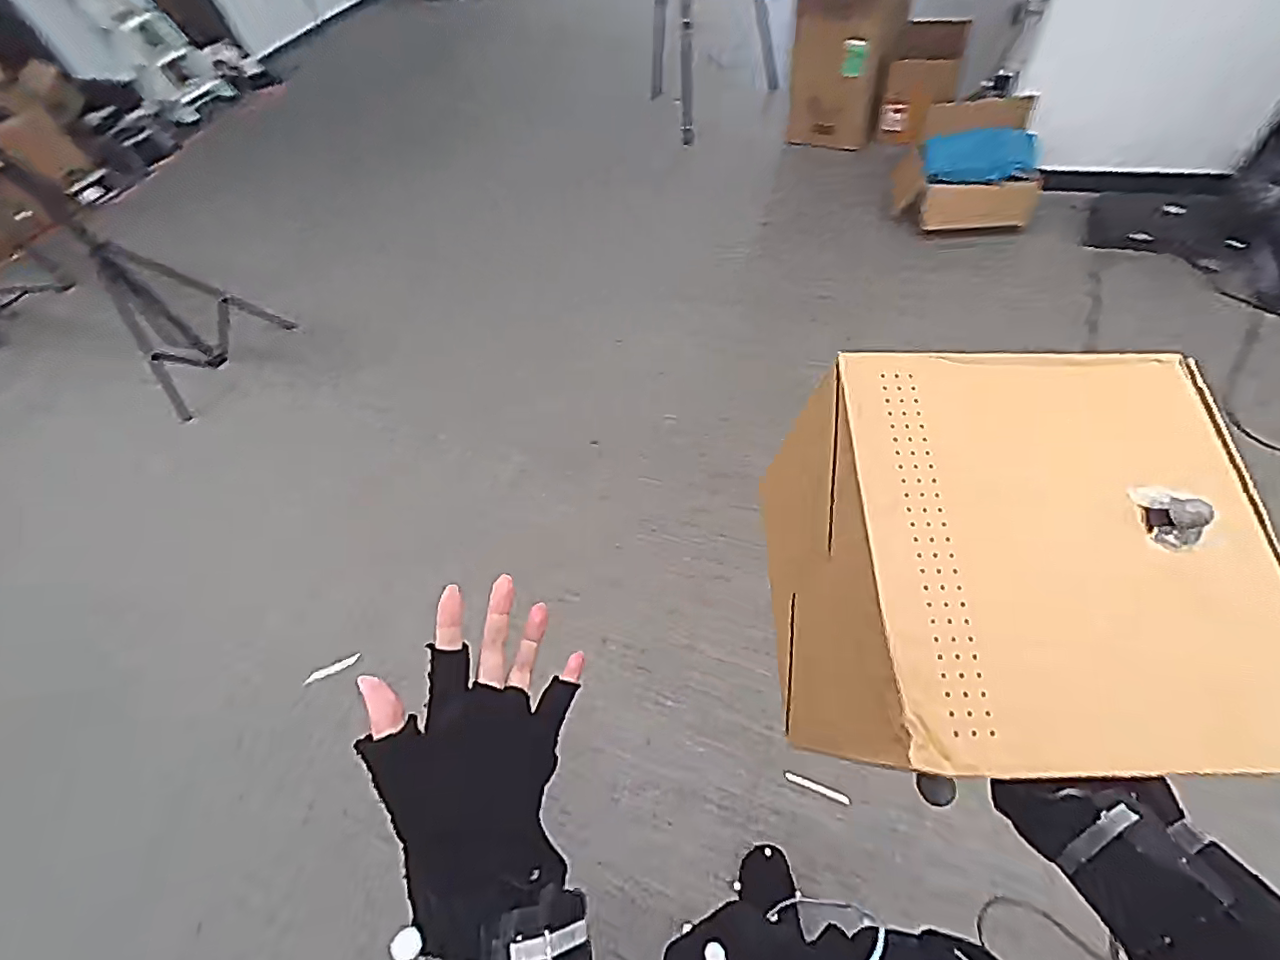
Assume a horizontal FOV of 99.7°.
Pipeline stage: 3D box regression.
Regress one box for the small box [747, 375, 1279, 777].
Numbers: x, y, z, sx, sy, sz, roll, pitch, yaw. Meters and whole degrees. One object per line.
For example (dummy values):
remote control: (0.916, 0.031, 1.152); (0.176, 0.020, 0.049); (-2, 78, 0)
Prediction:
small box: (0.160, 0.059, 0.305); (0.176, 0.168, 0.179); (-1, 67, 0)
